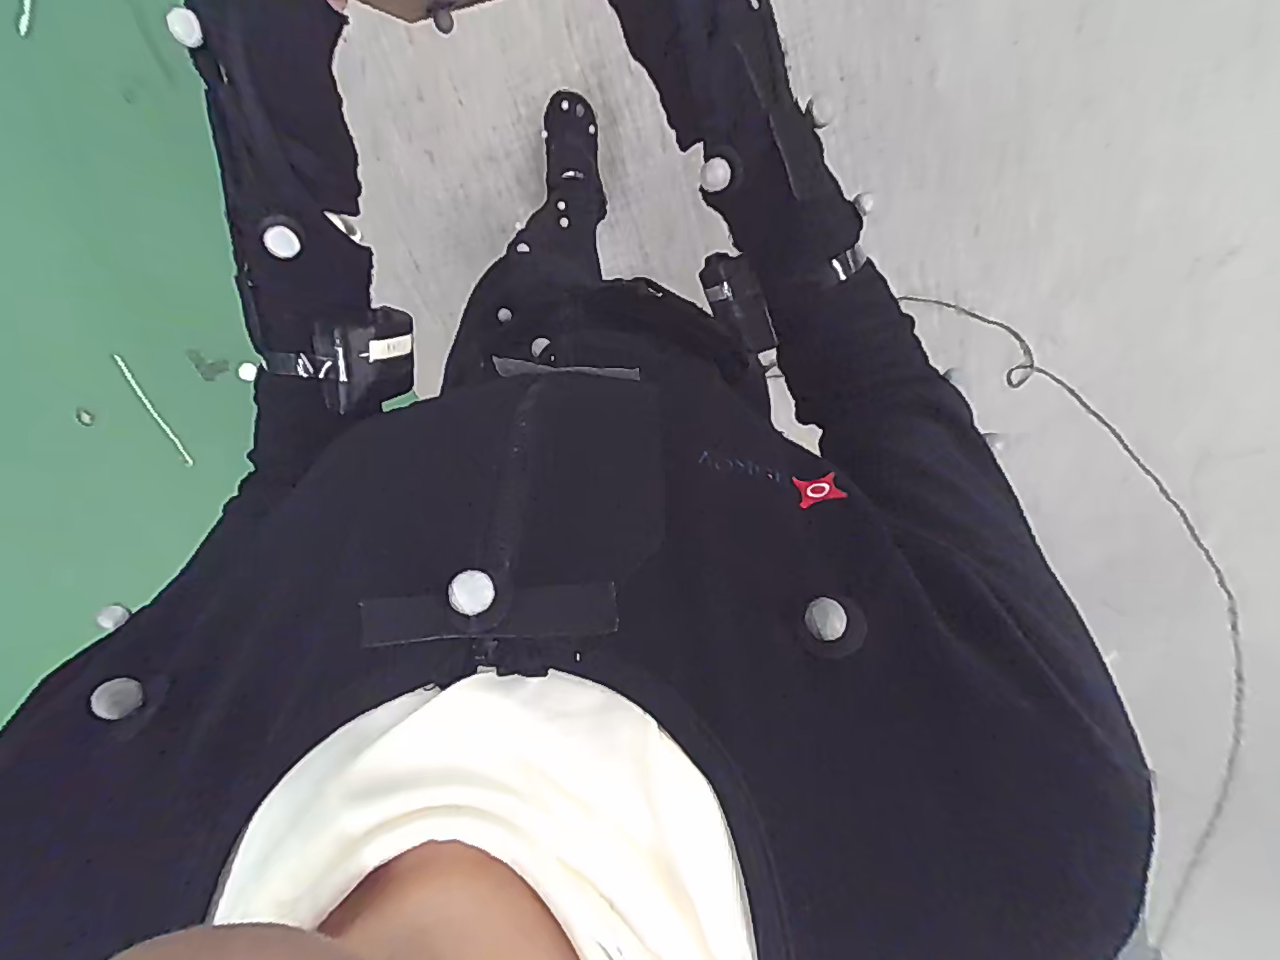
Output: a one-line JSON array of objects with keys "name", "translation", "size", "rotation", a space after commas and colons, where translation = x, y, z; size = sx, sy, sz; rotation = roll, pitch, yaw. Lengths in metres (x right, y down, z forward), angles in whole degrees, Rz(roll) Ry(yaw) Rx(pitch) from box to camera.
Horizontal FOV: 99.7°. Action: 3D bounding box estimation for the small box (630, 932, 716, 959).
[{"name": "small box", "translation": [0.083, 1.058, 1.083], "size": [0.168, 0.176, 0.179], "rotation": [-19, 112, 6]}]
